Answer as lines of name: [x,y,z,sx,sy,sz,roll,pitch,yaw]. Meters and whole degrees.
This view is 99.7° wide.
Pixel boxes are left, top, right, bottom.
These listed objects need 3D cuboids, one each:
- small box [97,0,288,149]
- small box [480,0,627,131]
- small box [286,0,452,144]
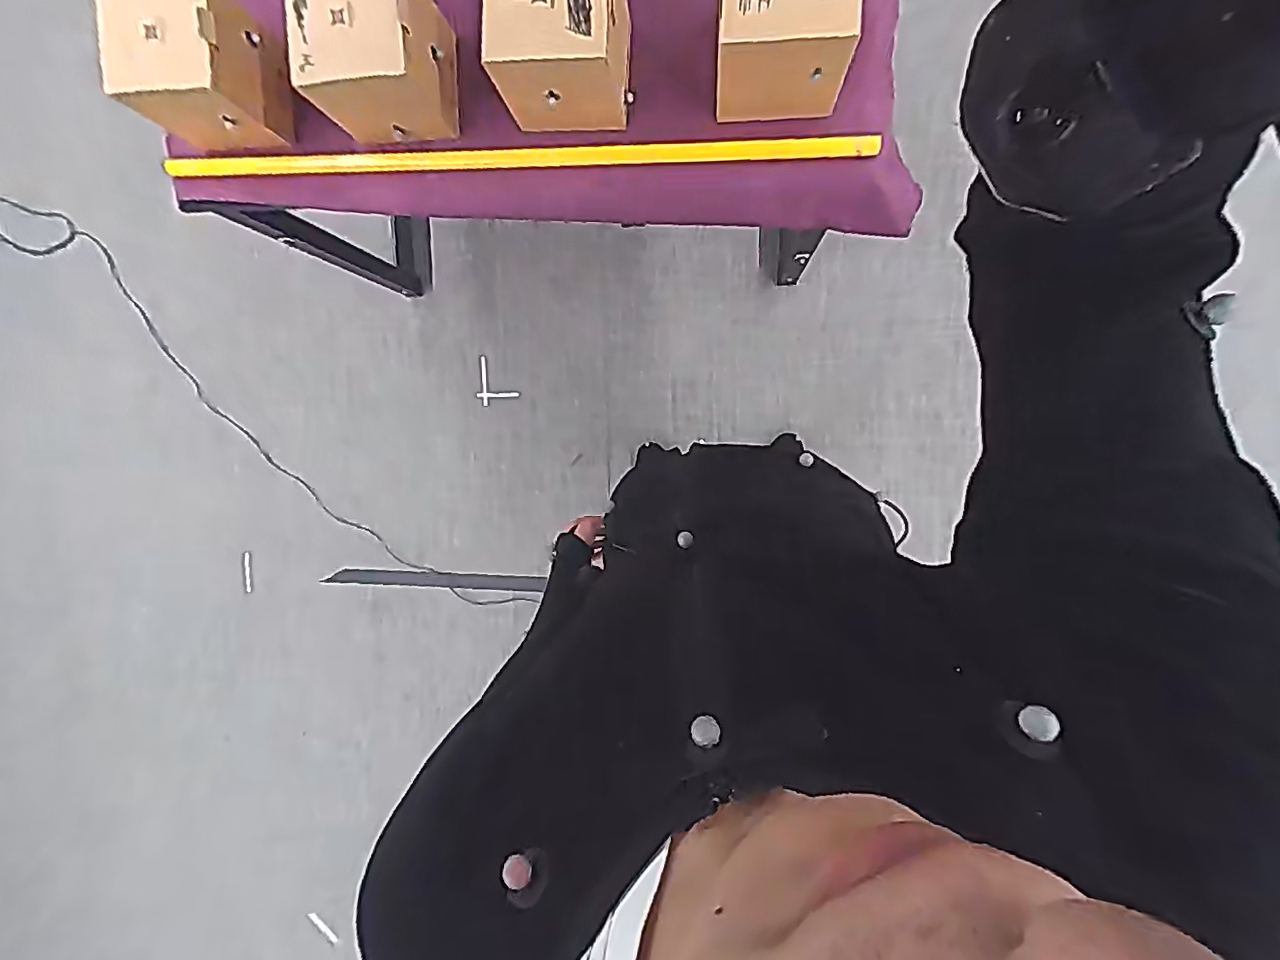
small box: [-0.693,-0.654,0.860,0.179,0.176,0.168,0,95,5]
small box: [-0.117,-0.642,0.793,0.179,0.176,0.168,4,94,8]
small box: [-0.400,-0.644,0.827,0.179,0.176,0.168,0,95,6]
